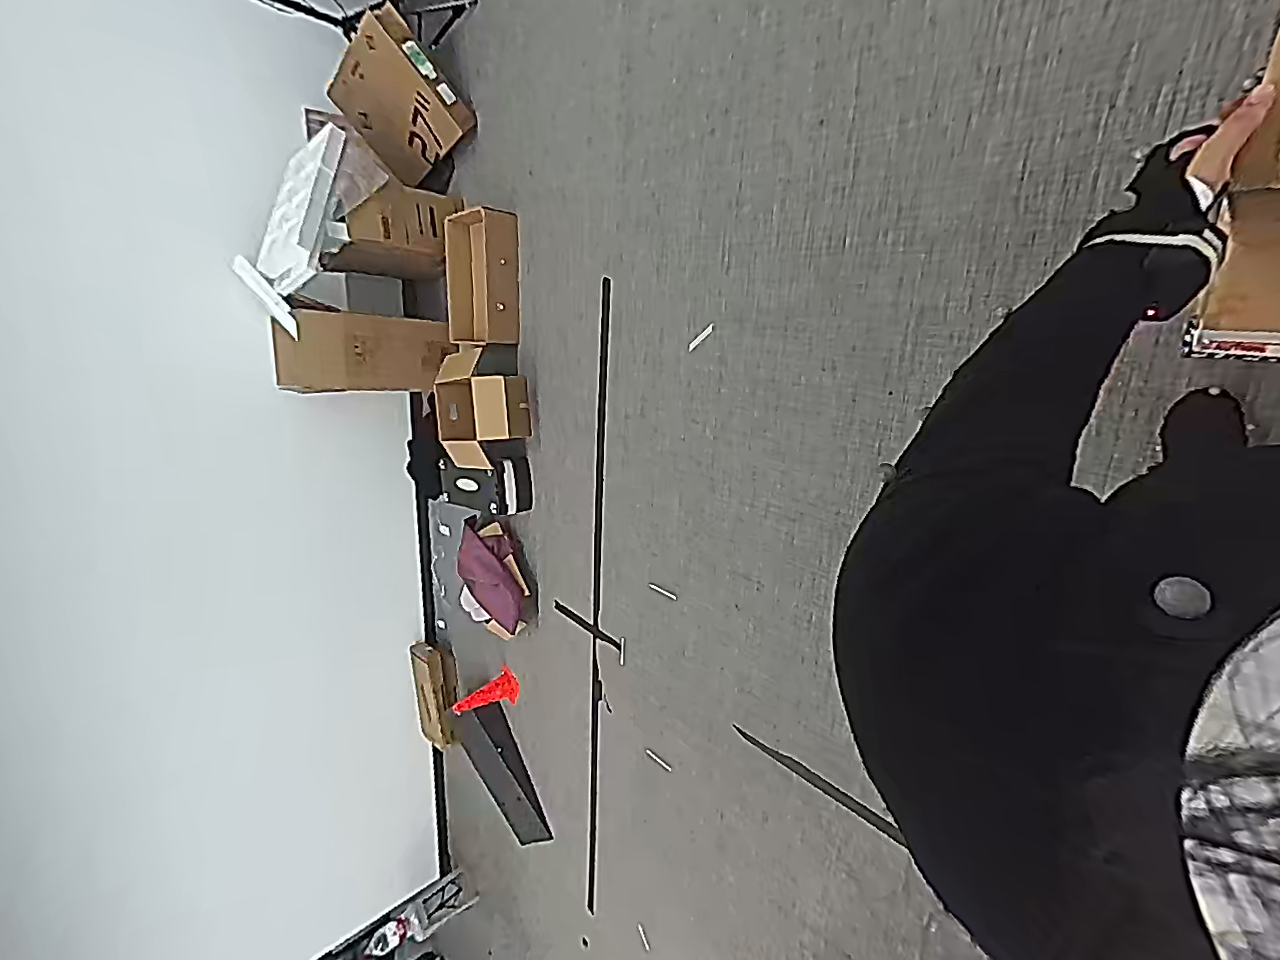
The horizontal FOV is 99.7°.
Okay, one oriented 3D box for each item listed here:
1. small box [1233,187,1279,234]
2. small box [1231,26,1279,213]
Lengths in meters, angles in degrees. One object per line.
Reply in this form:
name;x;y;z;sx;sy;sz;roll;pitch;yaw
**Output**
small box;0.720;-0.349;0.523;0.168;0.176;0.179;19;114;45
small box;0.601;-0.320;0.416;0.168;0.176;0.179;20;115;45
